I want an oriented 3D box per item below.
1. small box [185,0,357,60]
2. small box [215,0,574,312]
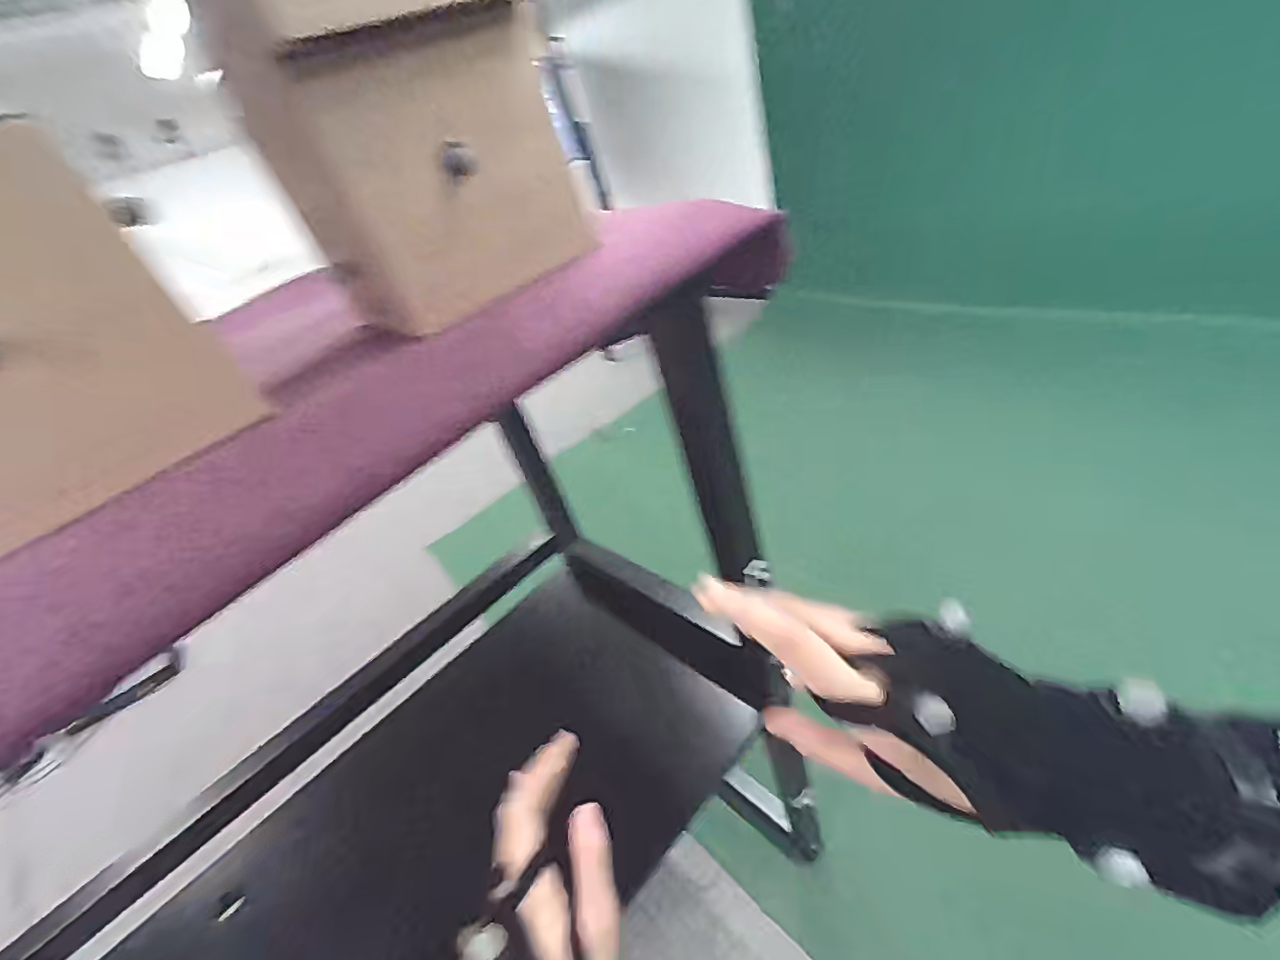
[{"bbox_3d":[-0.201,-0.371,0.308,0.179,0.176,0.168,-41,41,-26],"label":"small box"},{"bbox_3d":[-0.172,-0.252,0.419,0.179,0.176,0.168,-41,41,-25],"label":"small box"}]
